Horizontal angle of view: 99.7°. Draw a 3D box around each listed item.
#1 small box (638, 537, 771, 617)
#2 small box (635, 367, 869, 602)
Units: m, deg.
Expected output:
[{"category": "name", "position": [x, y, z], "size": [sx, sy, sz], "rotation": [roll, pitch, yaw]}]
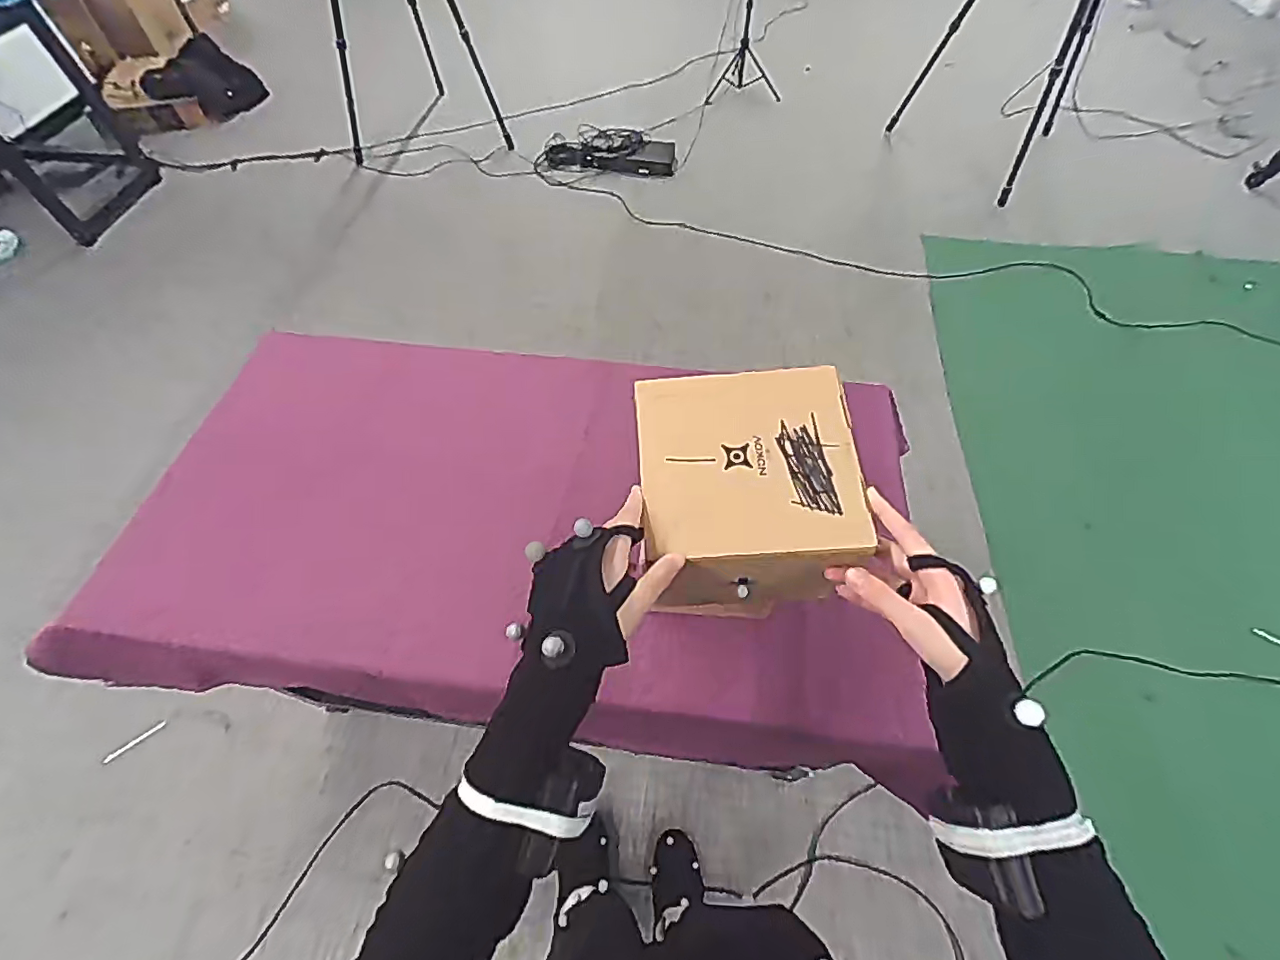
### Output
[{"category": "small box", "position": [0.094, 0.078, 0.736], "size": [0.179, 0.176, 0.168], "rotation": [3, 56, 4]}, {"category": "small box", "position": [0.089, 0.013, 0.514], "size": [0.179, 0.176, 0.168], "rotation": [-4, 63, 2]}]
